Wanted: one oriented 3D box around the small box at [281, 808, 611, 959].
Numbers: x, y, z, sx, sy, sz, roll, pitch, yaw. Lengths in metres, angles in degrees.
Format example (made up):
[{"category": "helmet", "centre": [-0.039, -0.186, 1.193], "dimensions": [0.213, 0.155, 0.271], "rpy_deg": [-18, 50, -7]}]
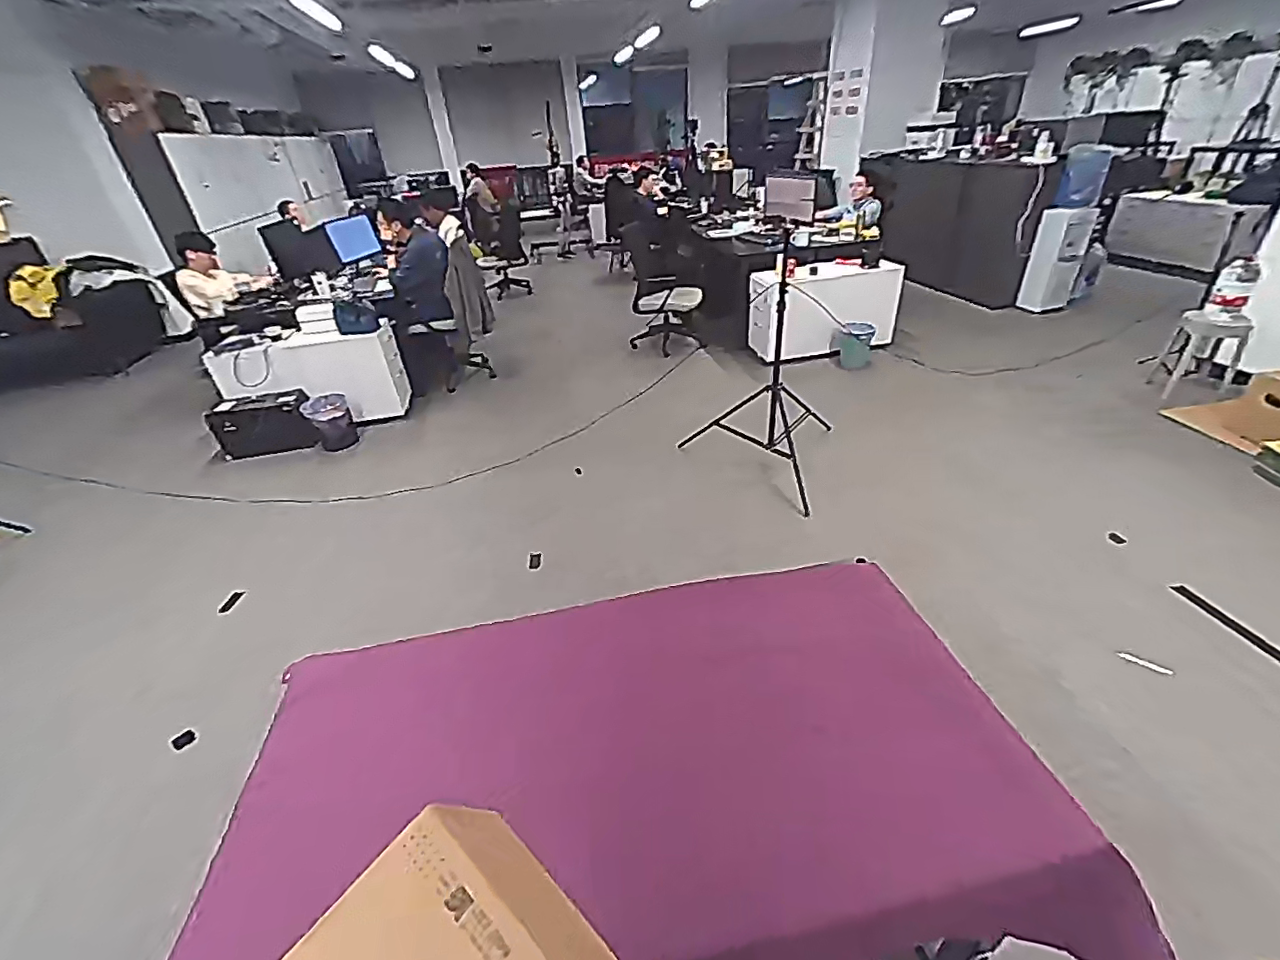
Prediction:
[{"category": "small box", "centre": [-0.138, 0.358, 0.372], "dimensions": [0.168, 0.179, 0.176], "rpy_deg": [35, 65, 24]}]
